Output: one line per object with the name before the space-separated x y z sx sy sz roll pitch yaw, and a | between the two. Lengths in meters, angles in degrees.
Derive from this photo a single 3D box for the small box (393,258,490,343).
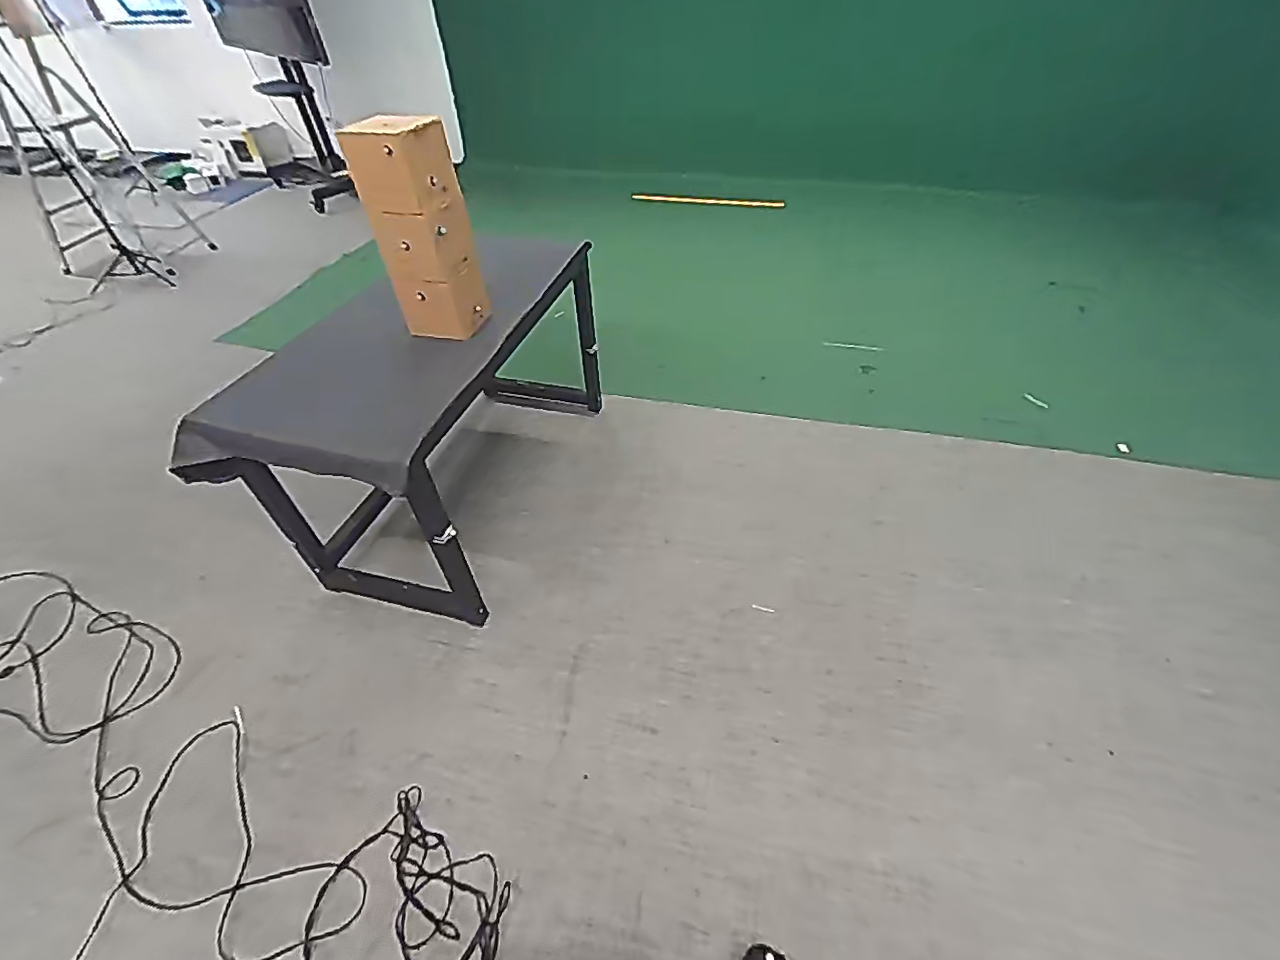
small box | -0.546 -0.501 1.511 0.179 0.176 0.168 8 46 11

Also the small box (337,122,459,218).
small box | -0.565 -0.737 1.286 0.179 0.176 0.168 11 46 14
